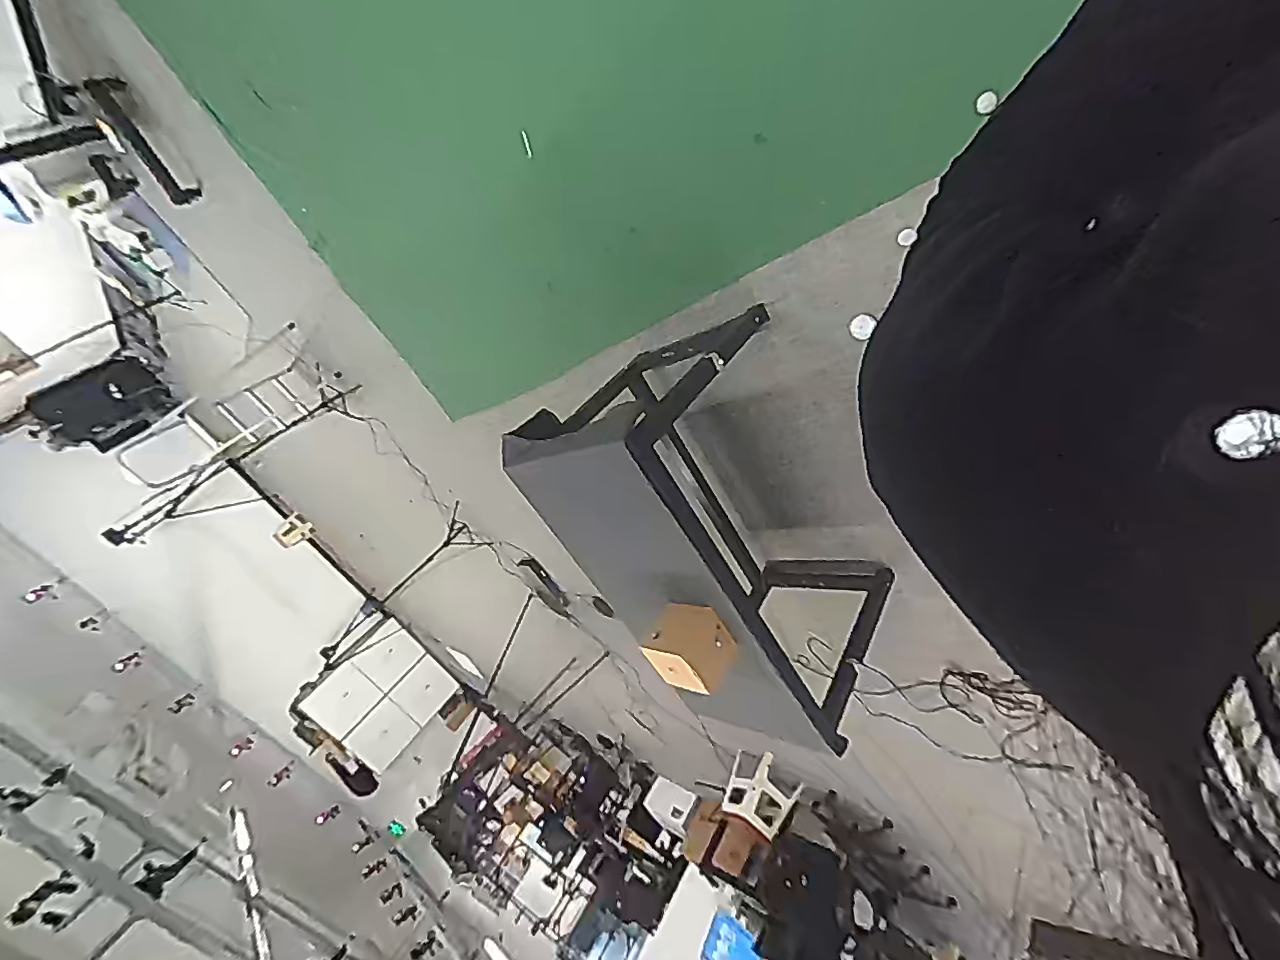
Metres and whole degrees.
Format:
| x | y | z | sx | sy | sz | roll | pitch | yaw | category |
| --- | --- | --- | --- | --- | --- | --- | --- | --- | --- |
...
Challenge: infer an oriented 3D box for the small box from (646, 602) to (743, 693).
| x | y | z | sx | sy | sz | roll | pitch | yaw | category |
| --- | --- | --- | --- | --- | --- | --- | --- | --- | --- |
| 0.156 | 0.465 | 1.524 | 0.179 | 0.176 | 0.168 | -8 | 124 | 49 | small box |
